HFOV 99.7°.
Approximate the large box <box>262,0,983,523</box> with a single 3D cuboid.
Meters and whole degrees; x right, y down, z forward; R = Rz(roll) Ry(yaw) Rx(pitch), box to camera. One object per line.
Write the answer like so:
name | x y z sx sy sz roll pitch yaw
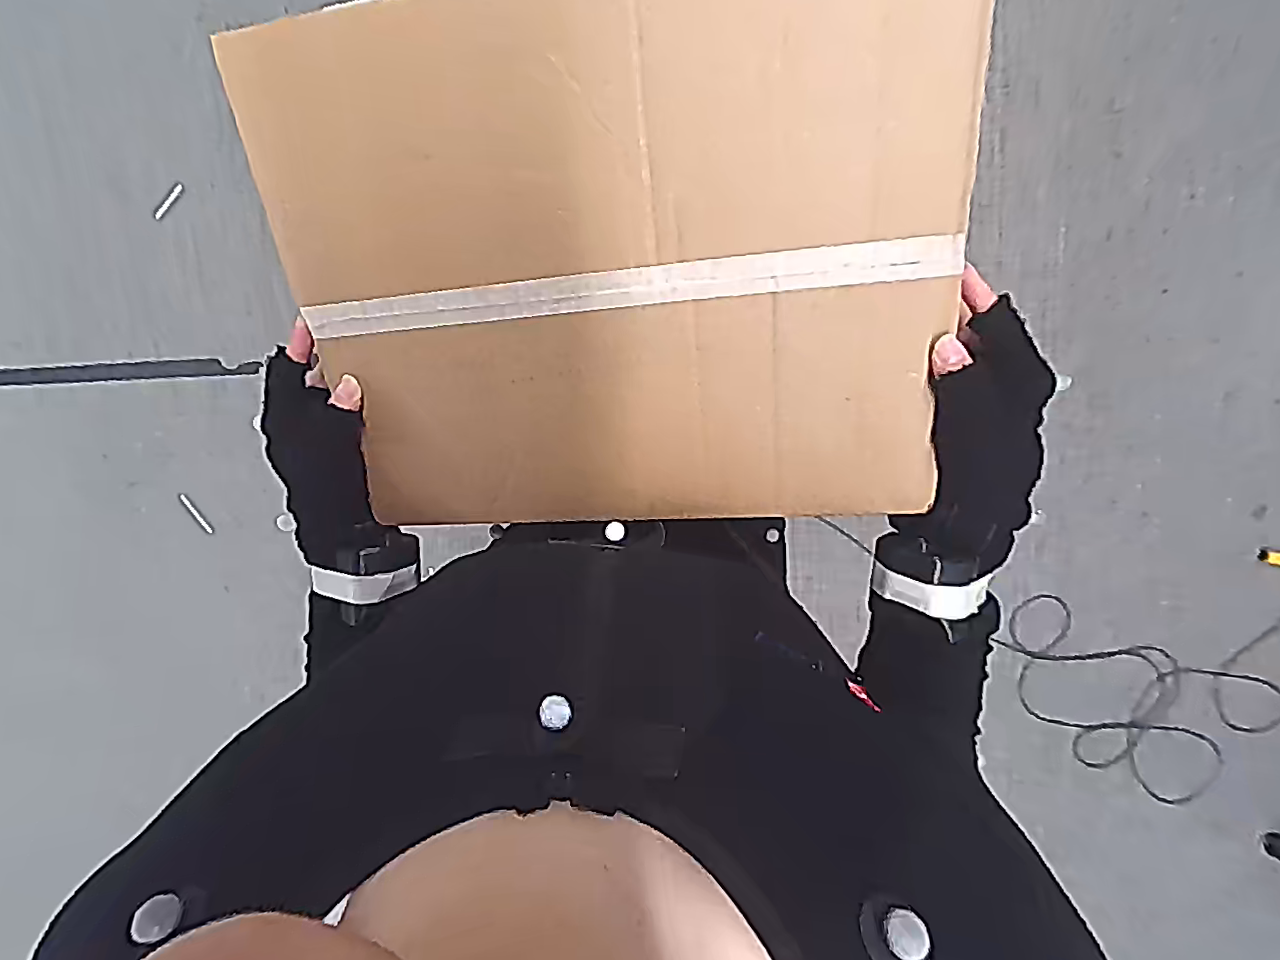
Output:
large box | 0.004 -0.172 0.475 0.408 0.320 0.320 -2 114 10
